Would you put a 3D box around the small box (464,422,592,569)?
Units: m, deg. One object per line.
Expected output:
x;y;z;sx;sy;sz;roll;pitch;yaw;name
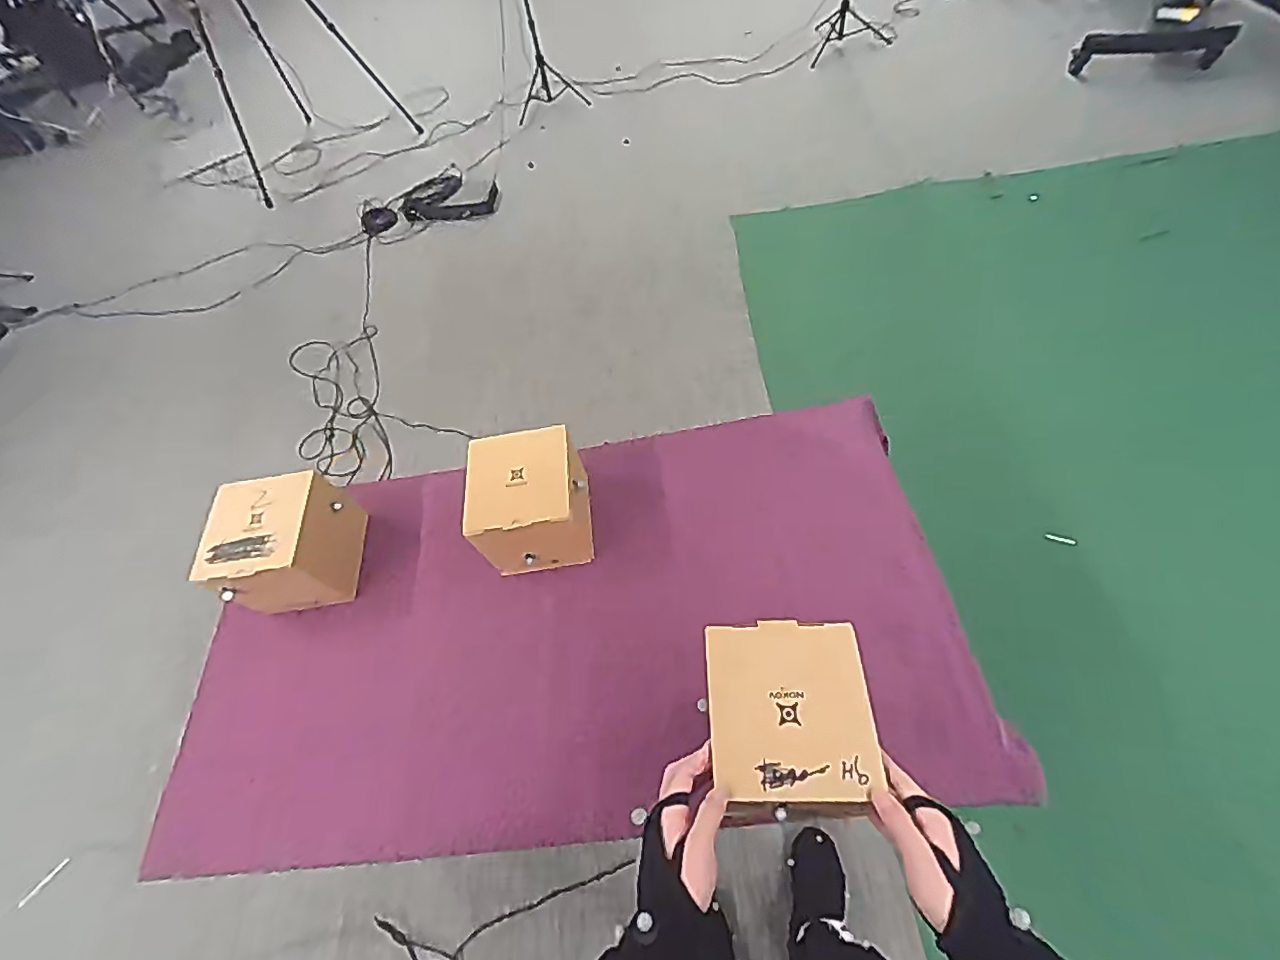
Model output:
-0.177;0.030;0.900;0.168;0.176;0.179;-9;59;2;small box

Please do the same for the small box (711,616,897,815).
0.167;0.271;0.619;0.168;0.176;0.179;-3;54;6;small box
